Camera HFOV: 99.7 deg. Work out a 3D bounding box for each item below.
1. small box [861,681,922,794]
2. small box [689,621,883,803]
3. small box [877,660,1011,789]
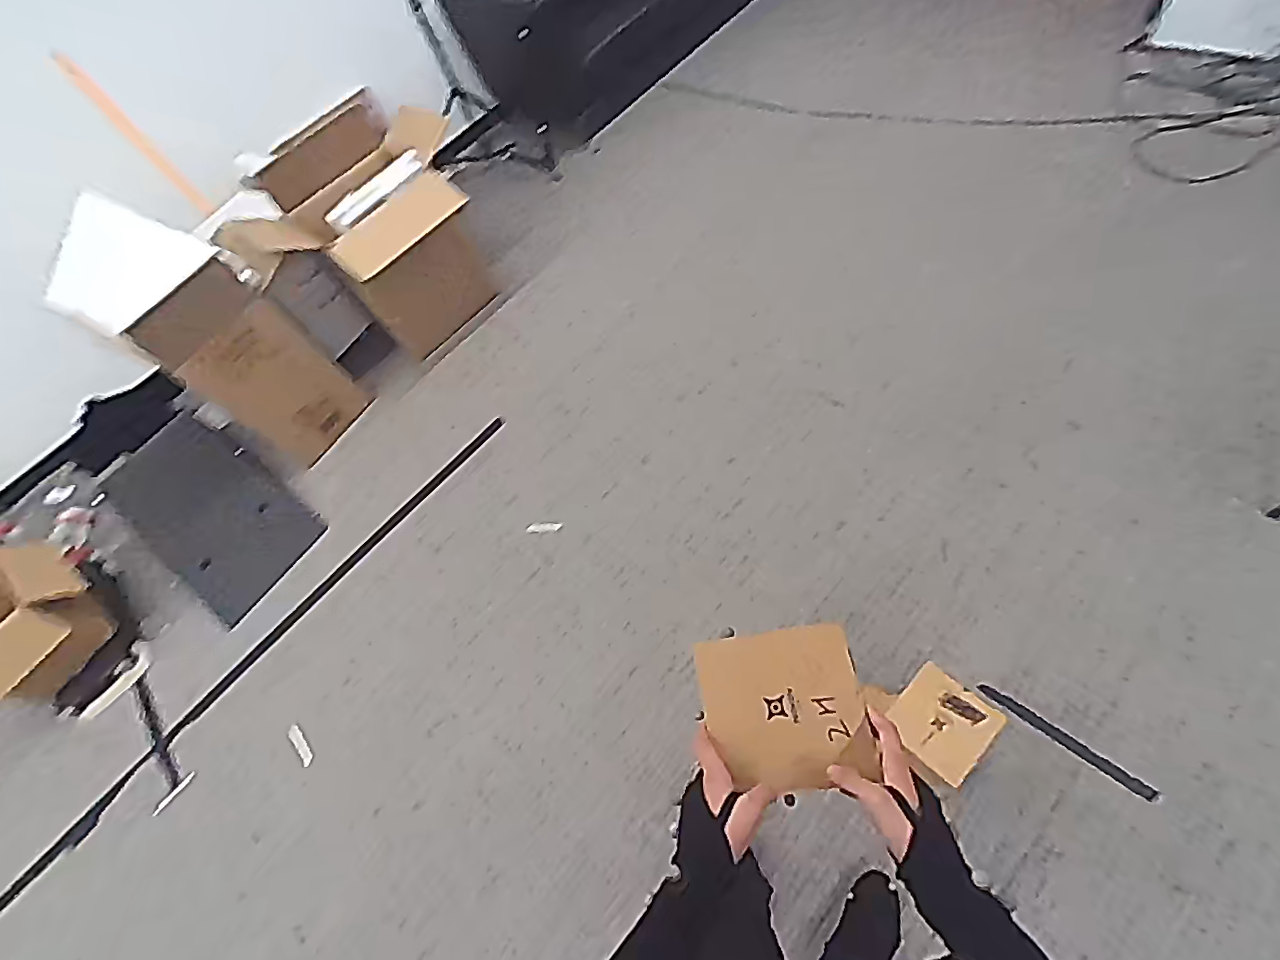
[{"bbox_3d":[0.580,0.607,1.272,0.168,0.176,0.179,23,69,27],"label":"small box"},{"bbox_3d":[0.162,0.279,0.654,0.179,0.176,0.168,-10,65,3],"label":"small box"},{"bbox_3d":[0.617,0.510,1.123,0.179,0.176,0.168,-44,57,-11],"label":"small box"}]
